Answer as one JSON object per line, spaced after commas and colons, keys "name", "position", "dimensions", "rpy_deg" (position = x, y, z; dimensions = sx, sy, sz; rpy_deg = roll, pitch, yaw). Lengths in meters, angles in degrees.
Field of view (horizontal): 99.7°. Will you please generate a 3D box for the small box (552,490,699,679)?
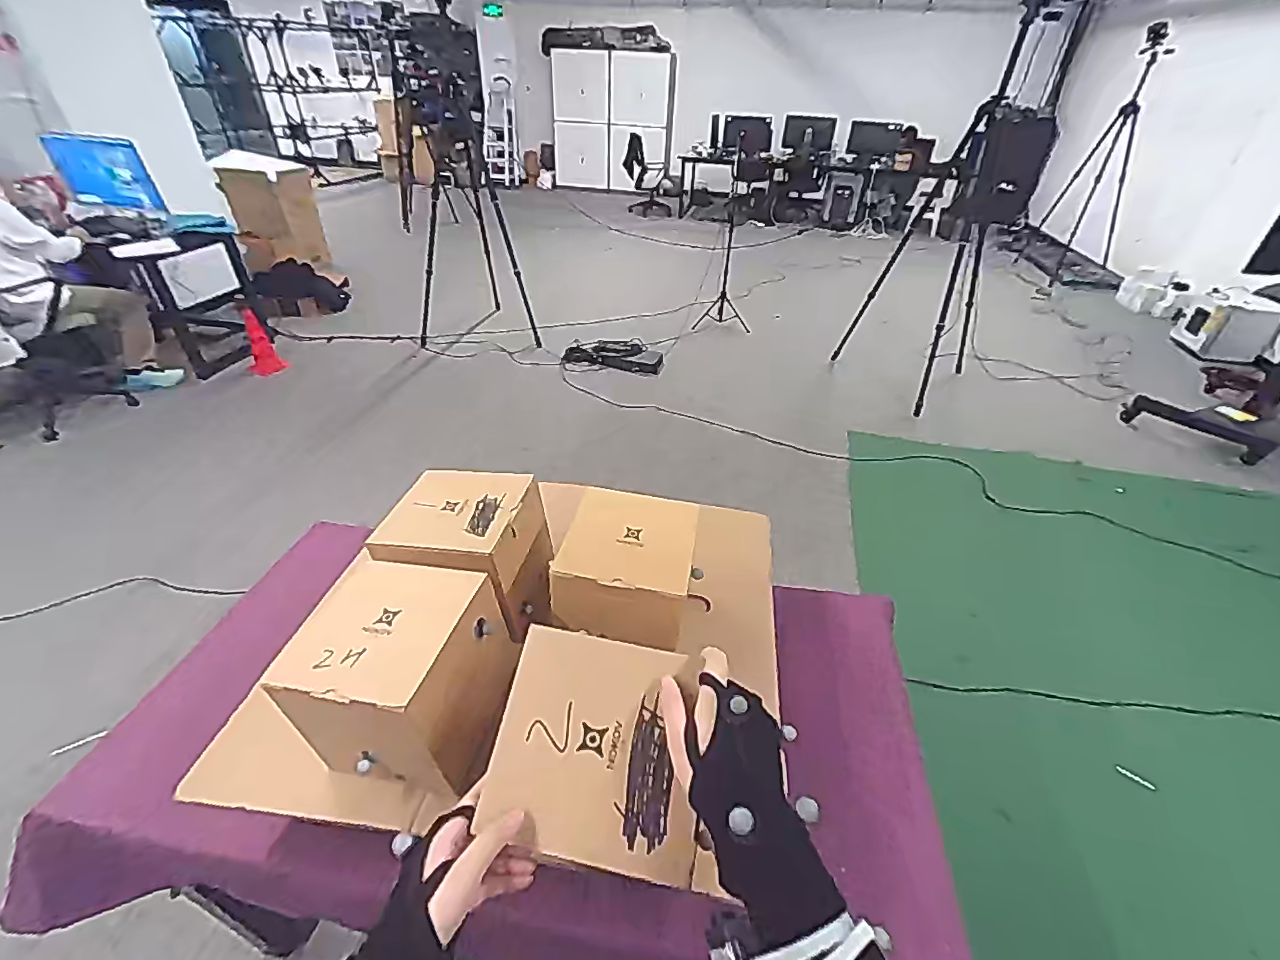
{"name": "small box", "position": [-0.018, 0.142, 0.752], "dimensions": [0.168, 0.176, 0.179], "rpy_deg": [9, 38, 6]}
